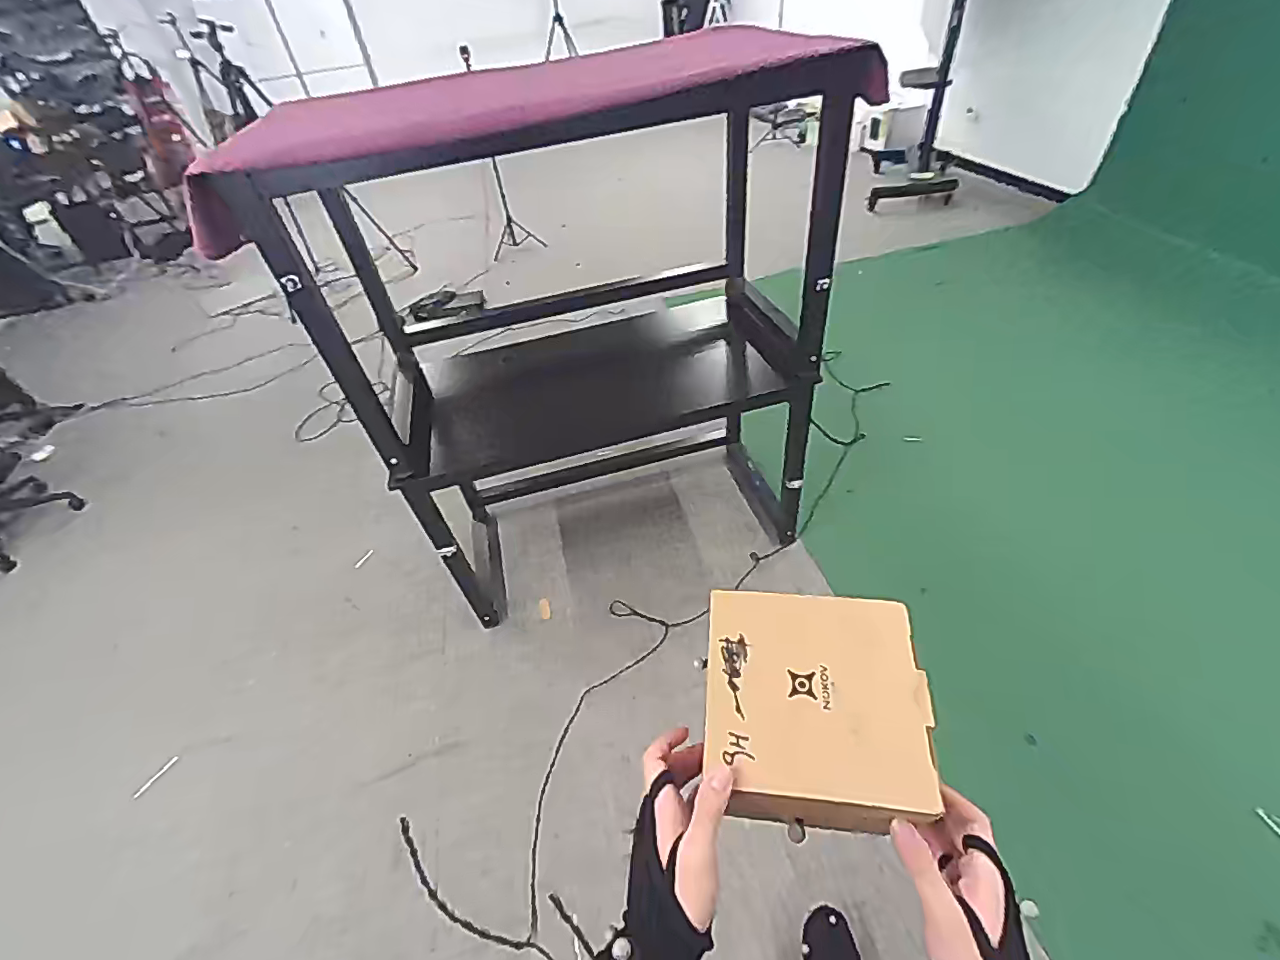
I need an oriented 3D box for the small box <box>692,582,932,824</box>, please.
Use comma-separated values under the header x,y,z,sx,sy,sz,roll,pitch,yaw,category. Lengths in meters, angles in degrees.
x,y,z,sx,sy,sz,roll,pitch,yaw,category
0.144,0.215,0.513,0.179,0.176,0.168,3,52,8,small box
